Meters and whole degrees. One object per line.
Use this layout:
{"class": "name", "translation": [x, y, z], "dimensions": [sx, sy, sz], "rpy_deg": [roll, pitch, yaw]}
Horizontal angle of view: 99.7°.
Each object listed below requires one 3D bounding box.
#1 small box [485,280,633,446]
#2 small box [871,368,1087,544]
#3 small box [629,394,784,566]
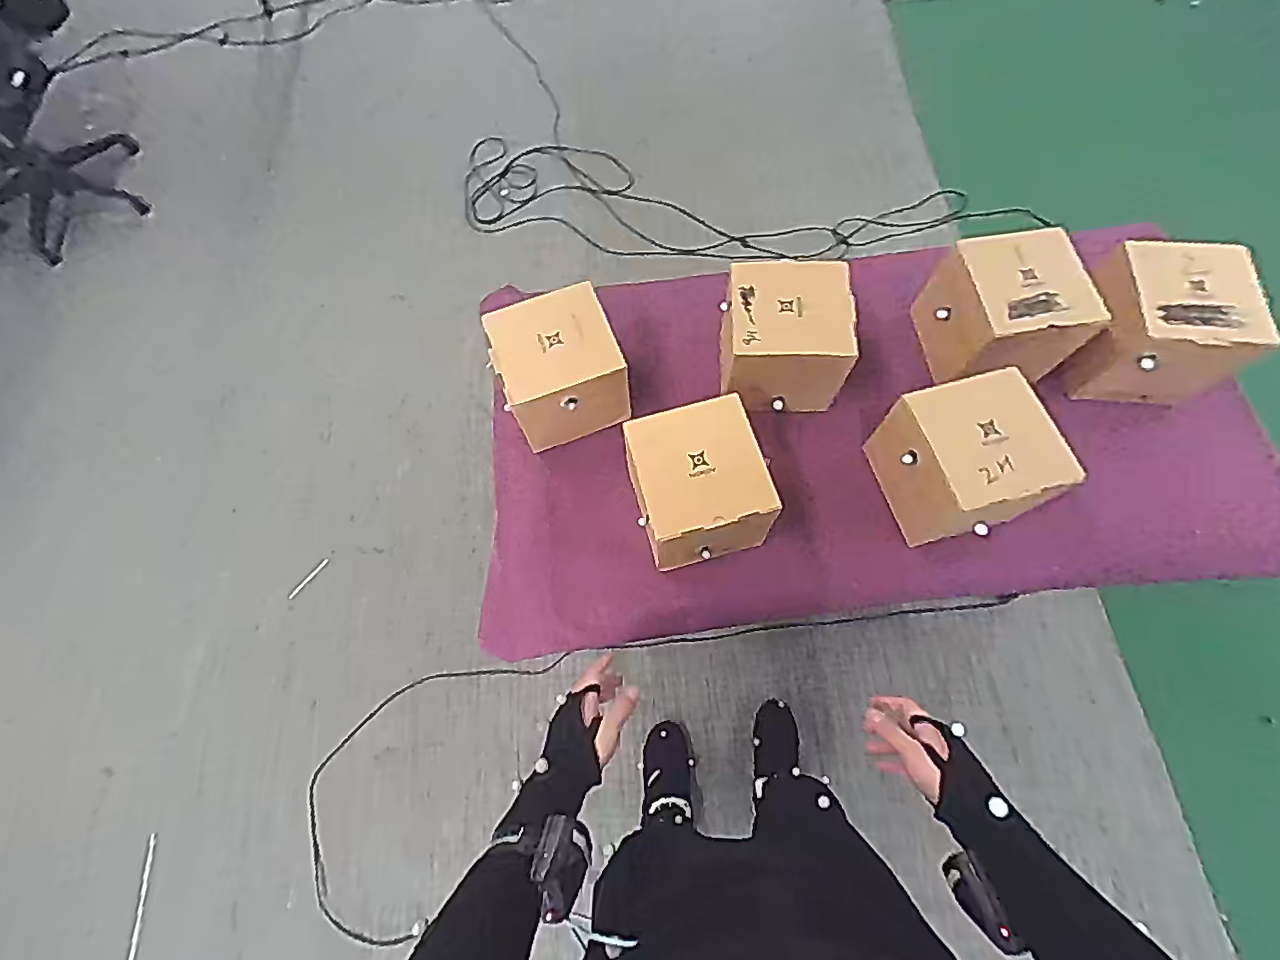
{"class": "small box", "translation": [-0.120, -0.175, 0.856], "dimensions": [0.179, 0.176, 0.168], "rpy_deg": [-19, 71, -5]}
{"class": "small box", "translation": [0.458, -0.027, 0.768], "dimensions": [0.168, 0.176, 0.179], "rpy_deg": [-14, 68, -2]}
{"class": "small box", "translation": [0.085, 0.007, 0.778], "dimensions": [0.168, 0.176, 0.179], "rpy_deg": [-15, 69, -3]}
